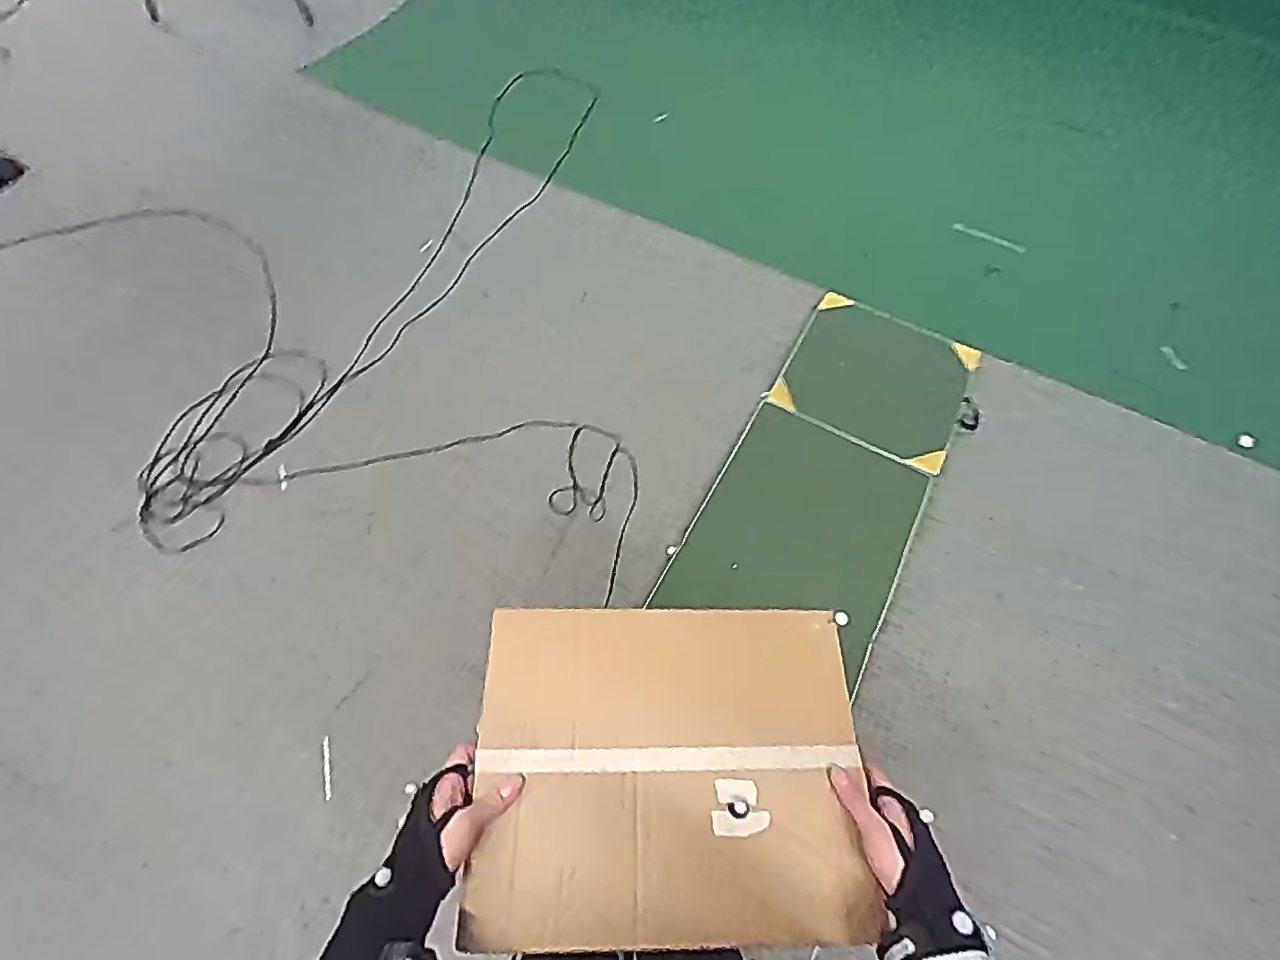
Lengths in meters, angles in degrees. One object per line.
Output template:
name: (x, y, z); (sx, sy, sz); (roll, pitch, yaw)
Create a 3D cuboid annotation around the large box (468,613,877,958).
large box: (0.020, 0.371, 0.712); (0.408, 0.320, 0.320); (0, 63, -4)
